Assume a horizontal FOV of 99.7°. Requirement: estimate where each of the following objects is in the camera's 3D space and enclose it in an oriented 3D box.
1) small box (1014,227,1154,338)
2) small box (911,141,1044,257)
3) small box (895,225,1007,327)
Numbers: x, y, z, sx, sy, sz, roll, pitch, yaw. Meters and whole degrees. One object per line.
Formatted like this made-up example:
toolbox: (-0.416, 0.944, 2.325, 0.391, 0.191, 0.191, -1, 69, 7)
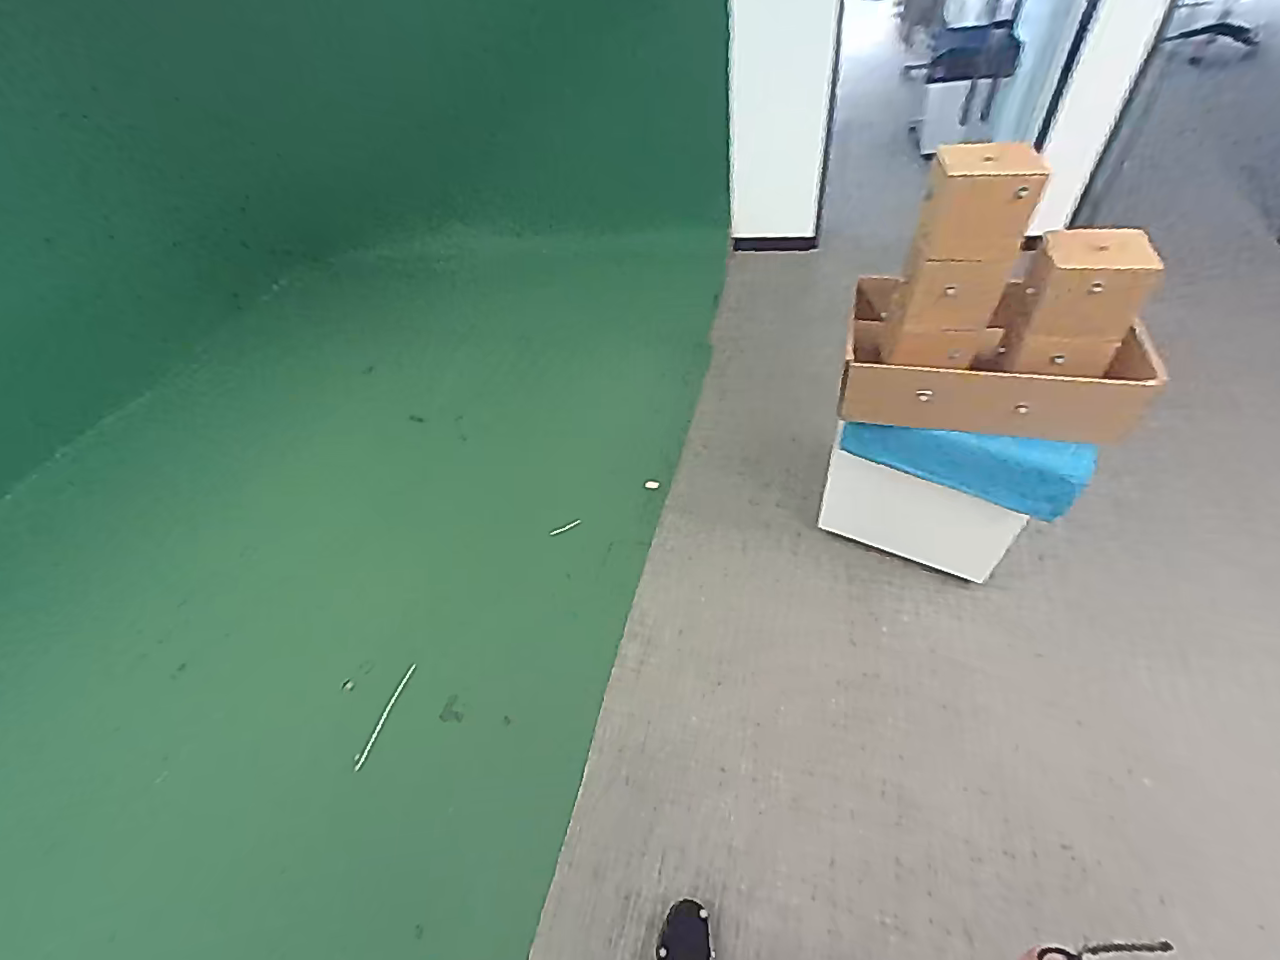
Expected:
small box: (0.923, -0.418, 1.149, 0.179, 0.176, 0.168, 8, 50, 17)
small box: (0.674, -0.573, 1.109, 0.179, 0.176, 0.168, 5, 49, 10)
small box: (0.692, -0.463, 1.229, 0.179, 0.176, 0.168, 4, 50, 12)
